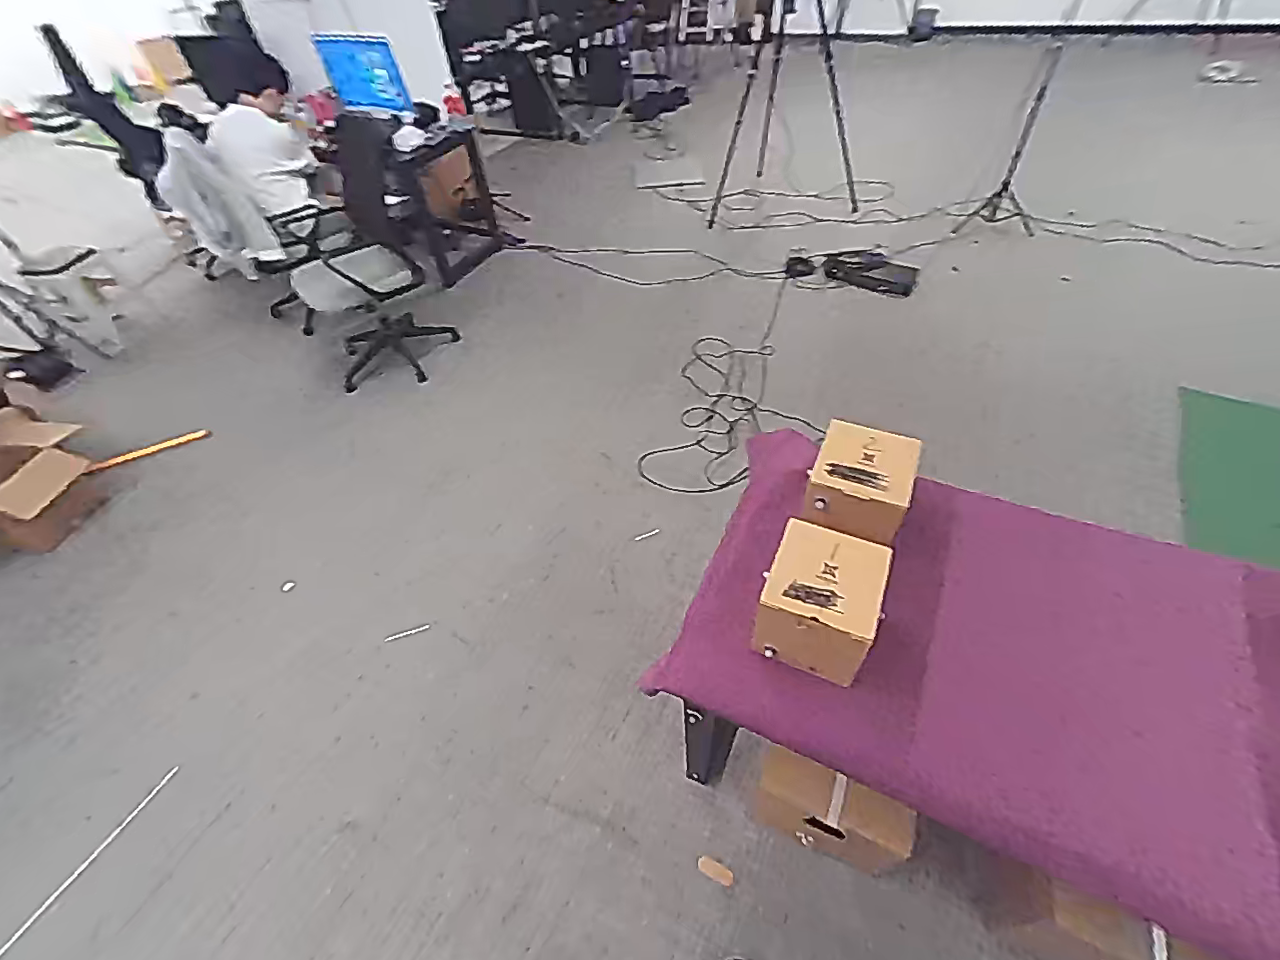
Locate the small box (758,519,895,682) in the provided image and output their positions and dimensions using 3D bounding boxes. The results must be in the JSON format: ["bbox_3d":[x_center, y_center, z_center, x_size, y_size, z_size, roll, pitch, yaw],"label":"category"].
[{"bbox_3d":[0.299,0.200,0.888,0.168,0.176,0.179,17,50,20],"label":"small box"}]

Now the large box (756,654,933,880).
[{"bbox_3d":[0.496,0.673,1.334,0.320,0.320,0.408,17,50,20],"label":"large box"}]
